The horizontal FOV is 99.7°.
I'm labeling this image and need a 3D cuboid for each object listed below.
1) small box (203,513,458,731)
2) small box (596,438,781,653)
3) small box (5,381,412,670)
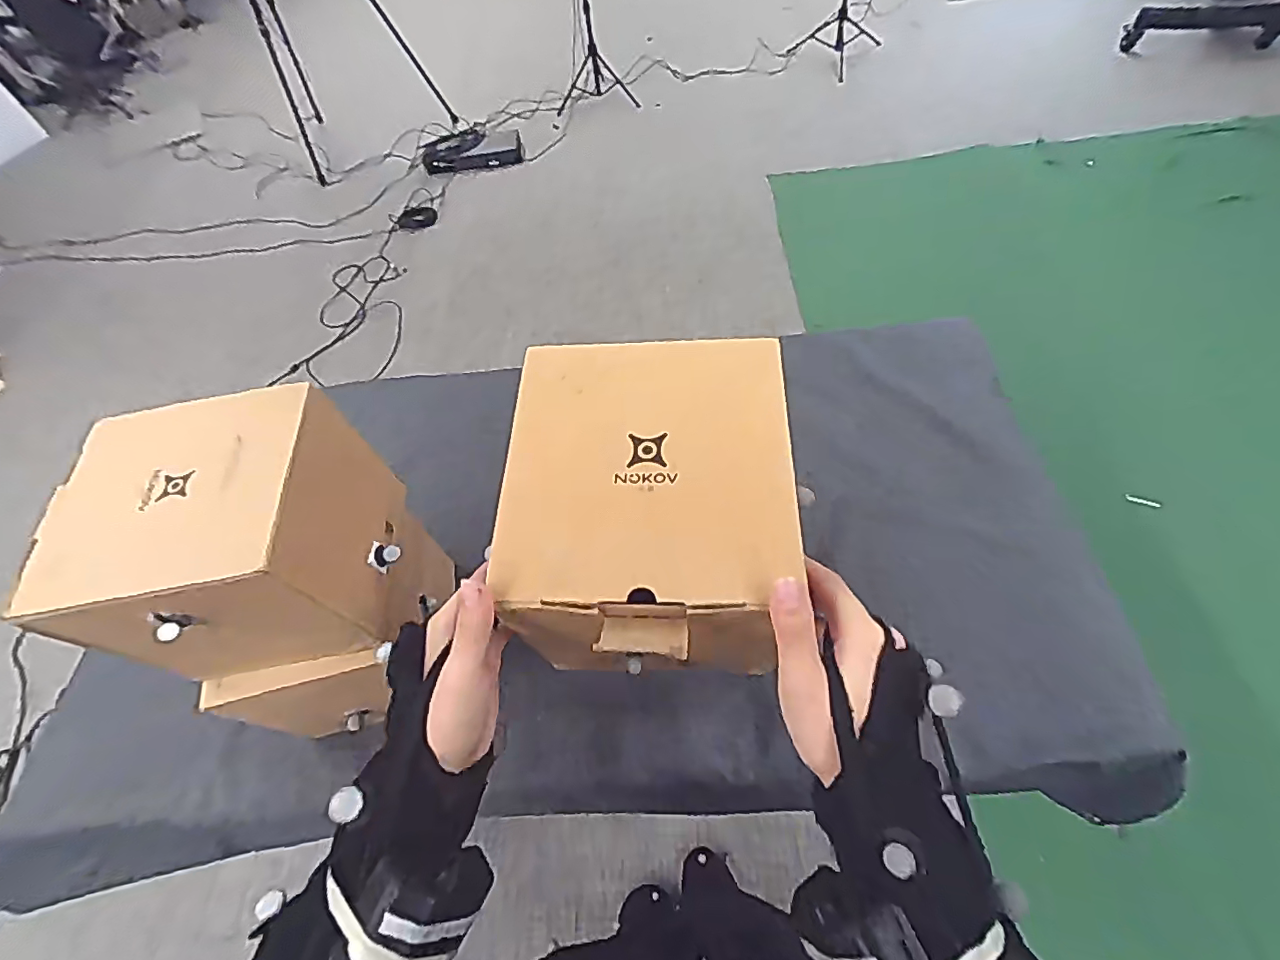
[{"bbox_3d":[-0.305,0.147,0.578,0.168,0.176,0.179,-14,57,-2],"label":"small box"},{"bbox_3d":[0.049,0.080,0.580,0.168,0.176,0.179,-5,57,4],"label":"small box"},{"bbox_3d":[-0.318,0.047,0.449,0.179,0.176,0.168,-10,57,0],"label":"small box"}]
